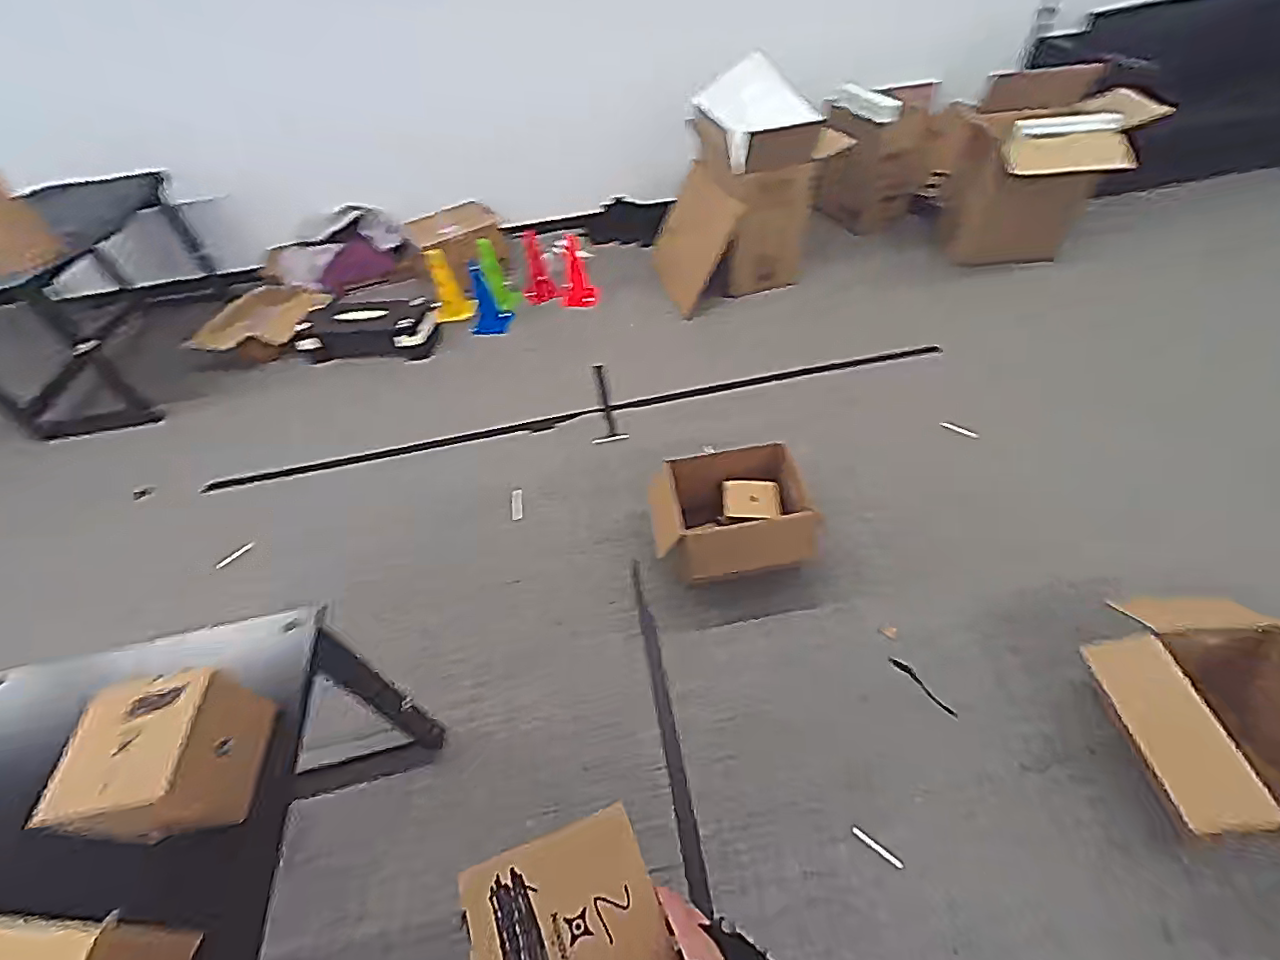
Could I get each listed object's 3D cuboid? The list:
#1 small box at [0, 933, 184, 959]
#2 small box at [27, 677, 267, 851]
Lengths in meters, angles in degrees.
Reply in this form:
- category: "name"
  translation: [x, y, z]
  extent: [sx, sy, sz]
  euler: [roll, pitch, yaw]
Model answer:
- category: "small box"
  translation: [-0.671, 0.627, 0.605]
  extent: [0.168, 0.176, 0.179]
  euler: [-3, 50, 5]
- category: "small box"
  translation: [-0.689, 0.415, 0.788]
  extent: [0.168, 0.176, 0.179]
  euler: [-11, 50, -2]
